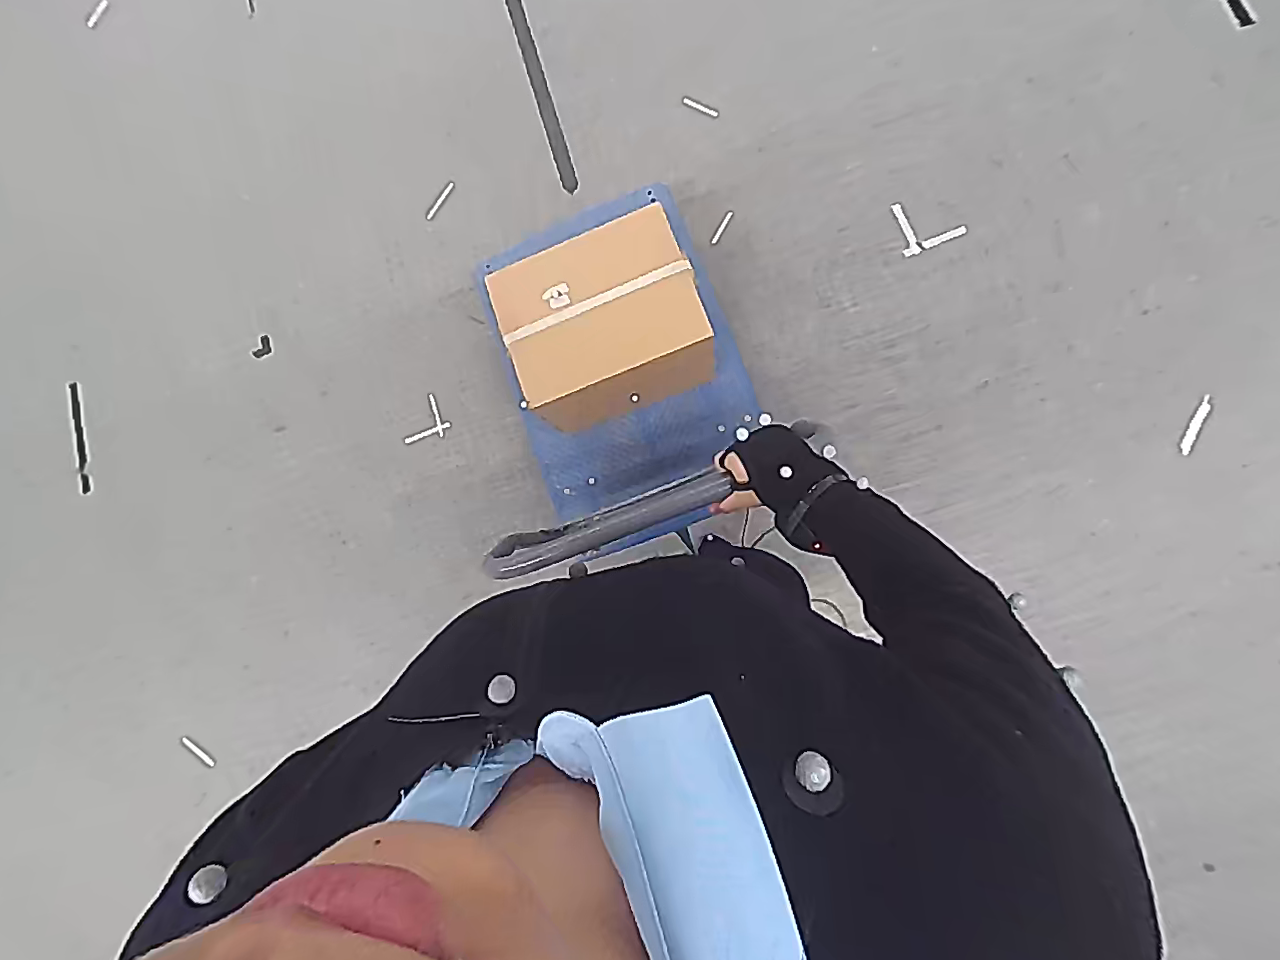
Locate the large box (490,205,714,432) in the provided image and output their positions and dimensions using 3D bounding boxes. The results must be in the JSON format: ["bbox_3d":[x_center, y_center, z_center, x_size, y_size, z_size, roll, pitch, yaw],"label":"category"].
[{"bbox_3d":[-0.068,-0.347,1.267,0.408,0.320,0.320,-21,80,6],"label":"large box"}]
